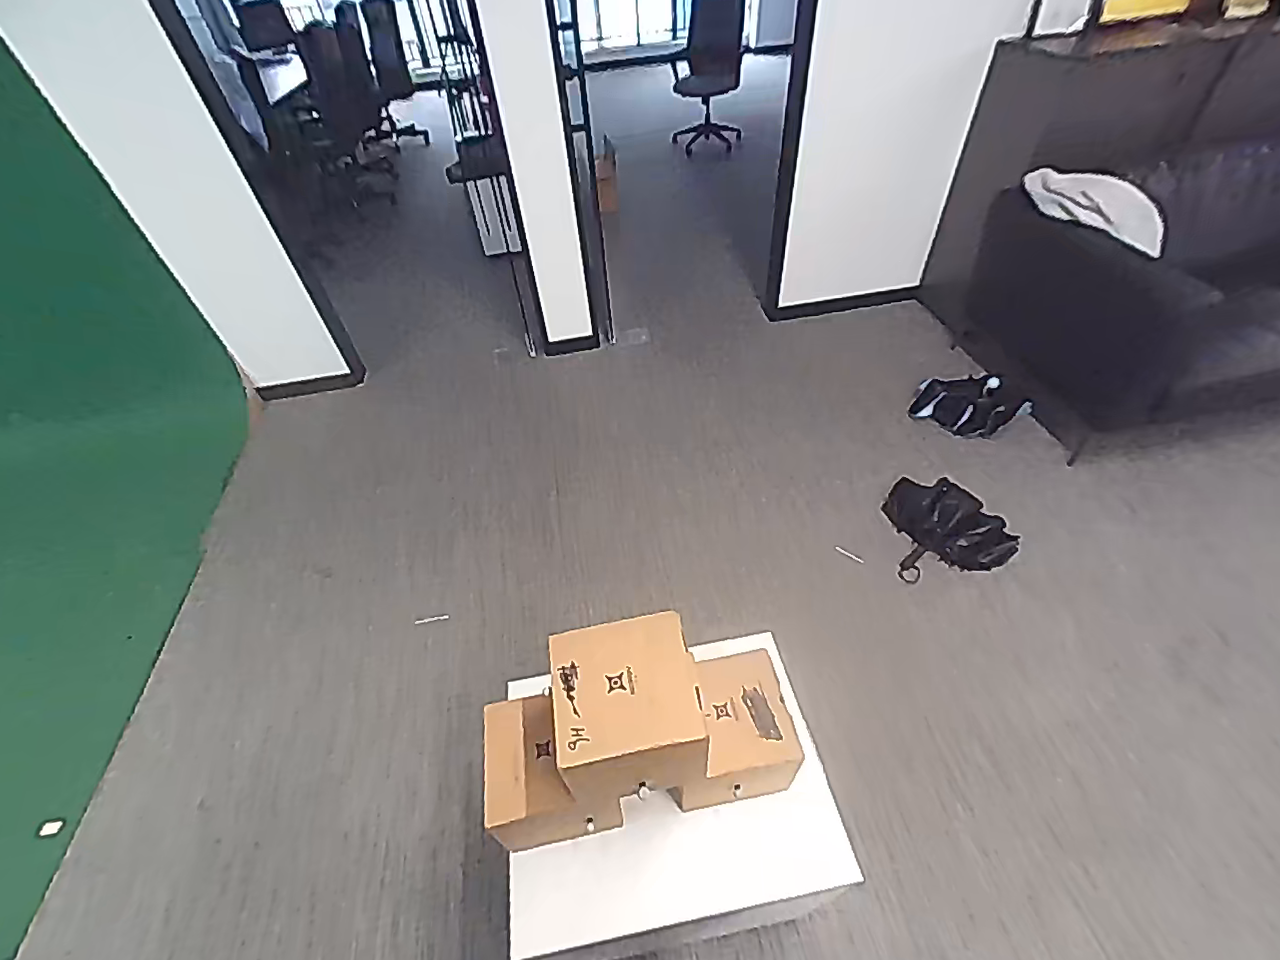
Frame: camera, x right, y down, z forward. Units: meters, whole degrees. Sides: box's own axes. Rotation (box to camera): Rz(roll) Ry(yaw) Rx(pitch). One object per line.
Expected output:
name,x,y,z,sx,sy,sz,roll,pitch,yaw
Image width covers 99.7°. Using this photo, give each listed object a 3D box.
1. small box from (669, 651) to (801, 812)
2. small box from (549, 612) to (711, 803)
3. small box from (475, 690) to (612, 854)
small box,0.123,0.389,0.834,0.179,0.176,0.168,-9,46,-5
small box,-0.018,0.296,0.703,0.179,0.176,0.168,-8,46,-6
small box,-0.138,0.430,0.806,0.179,0.176,0.168,-10,45,-7
